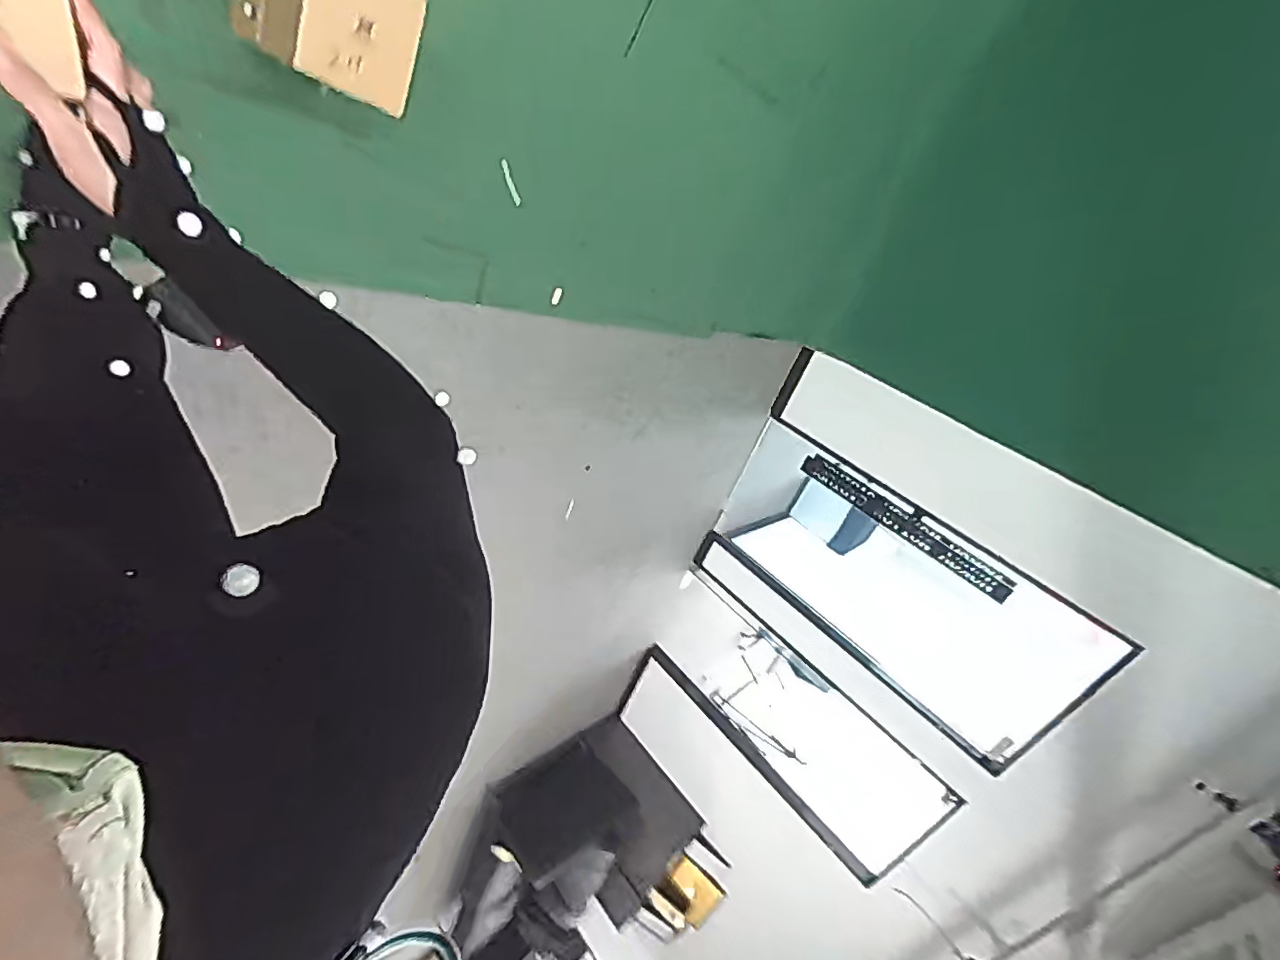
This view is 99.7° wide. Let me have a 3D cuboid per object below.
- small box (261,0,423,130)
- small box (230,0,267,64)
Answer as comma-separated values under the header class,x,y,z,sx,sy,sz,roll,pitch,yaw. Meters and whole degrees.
class,x,y,z,sx,sy,sz,roll,pitch,yaw
small box,-0.483,-0.711,0.869,0.168,0.176,0.179,-4,127,-51
small box,-0.593,-0.805,0.947,0.168,0.176,0.179,-6,128,-50
